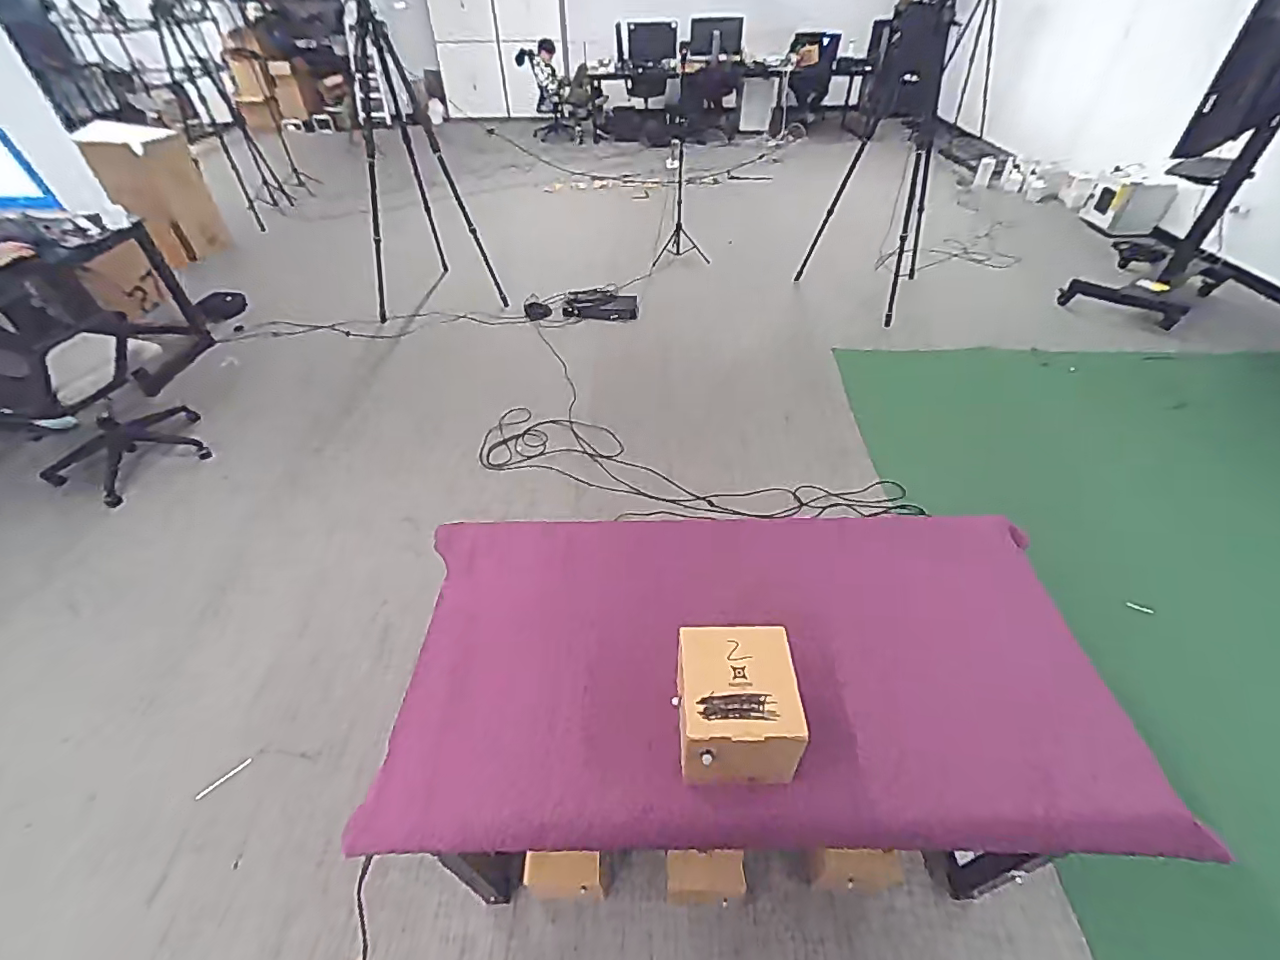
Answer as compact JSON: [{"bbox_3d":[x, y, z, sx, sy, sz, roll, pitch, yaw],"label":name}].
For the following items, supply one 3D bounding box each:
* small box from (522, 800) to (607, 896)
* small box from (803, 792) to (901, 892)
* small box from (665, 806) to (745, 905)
[{"bbox_3d":[-0.176,0.898,1.318,0.179,0.176,0.168,-1,43,1],"label":"small box"},{"bbox_3d":[0.501,0.879,1.311,0.179,0.176,0.168,1,44,4],"label":"small box"},{"bbox_3d":[0.149,0.903,1.299,0.179,0.176,0.168,-1,43,2],"label":"small box"}]
